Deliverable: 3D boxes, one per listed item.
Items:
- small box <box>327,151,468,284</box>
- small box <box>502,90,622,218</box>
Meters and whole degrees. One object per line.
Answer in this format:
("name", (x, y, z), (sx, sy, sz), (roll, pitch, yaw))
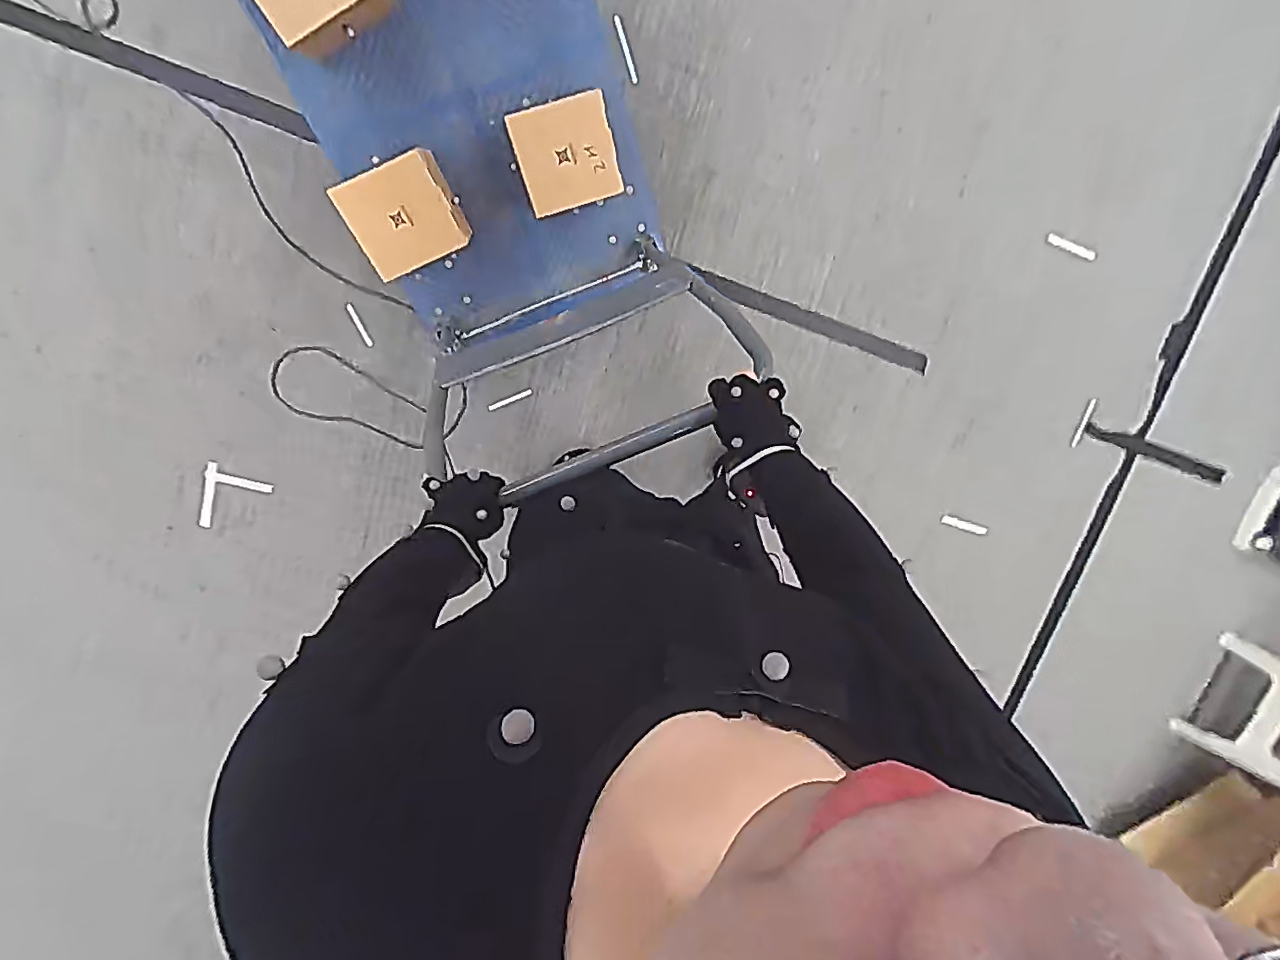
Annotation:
("small box", (-0.443, -0.496, 1.023), (0.179, 0.176, 0.168), (-26, 123, 0))
("small box", (-0.149, -0.615, 1.028), (0.179, 0.176, 0.168), (-19, 123, -3))
